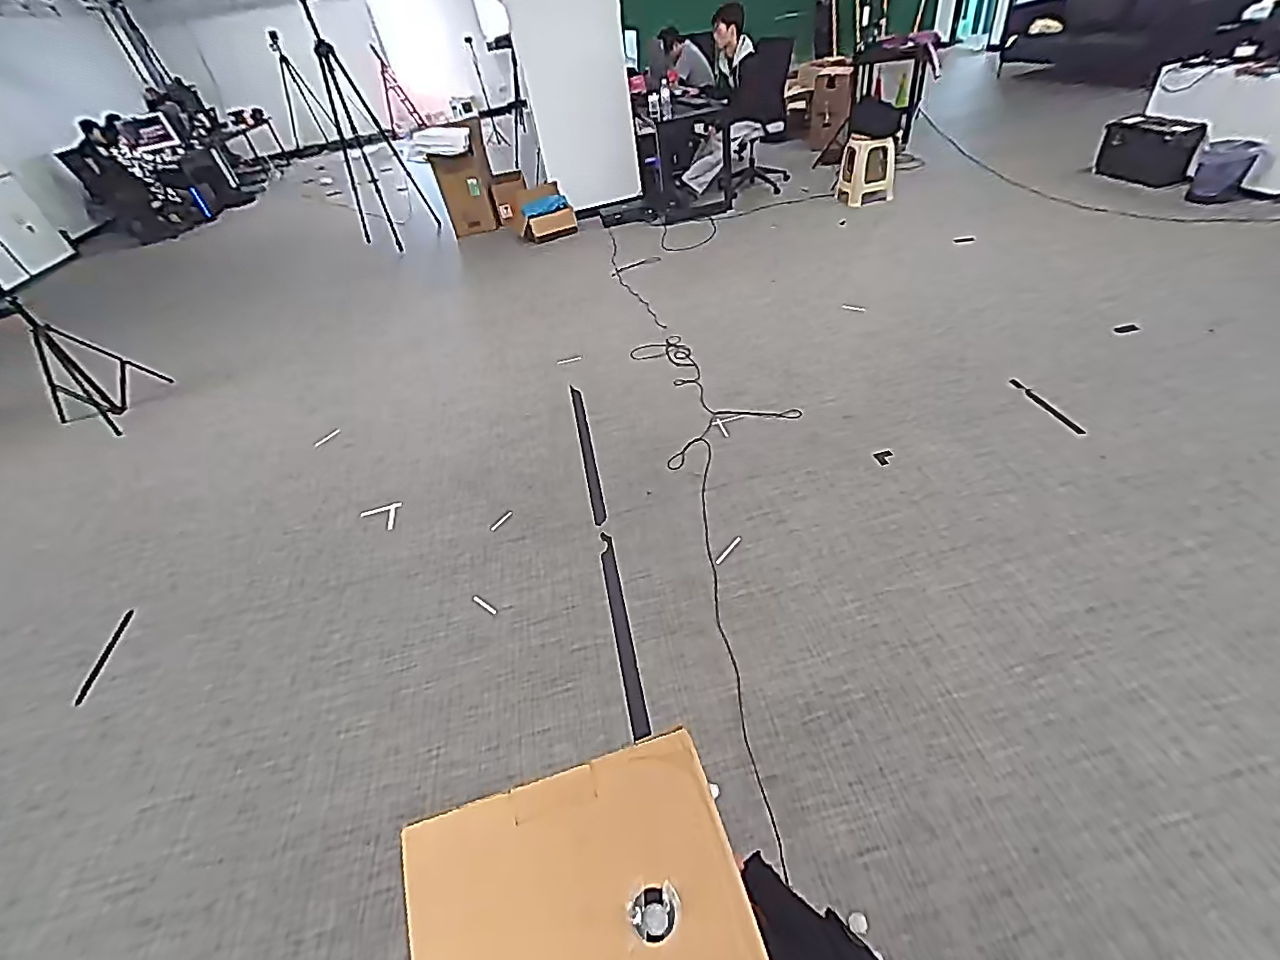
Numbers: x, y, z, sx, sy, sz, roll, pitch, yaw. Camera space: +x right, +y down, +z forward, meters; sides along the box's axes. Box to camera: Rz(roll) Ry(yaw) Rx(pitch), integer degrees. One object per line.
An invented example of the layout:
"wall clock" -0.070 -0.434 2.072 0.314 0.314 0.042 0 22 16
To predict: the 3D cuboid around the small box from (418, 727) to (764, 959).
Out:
"small box" -0.022 0.281 0.350 0.168 0.179 0.176 -16 62 -8
